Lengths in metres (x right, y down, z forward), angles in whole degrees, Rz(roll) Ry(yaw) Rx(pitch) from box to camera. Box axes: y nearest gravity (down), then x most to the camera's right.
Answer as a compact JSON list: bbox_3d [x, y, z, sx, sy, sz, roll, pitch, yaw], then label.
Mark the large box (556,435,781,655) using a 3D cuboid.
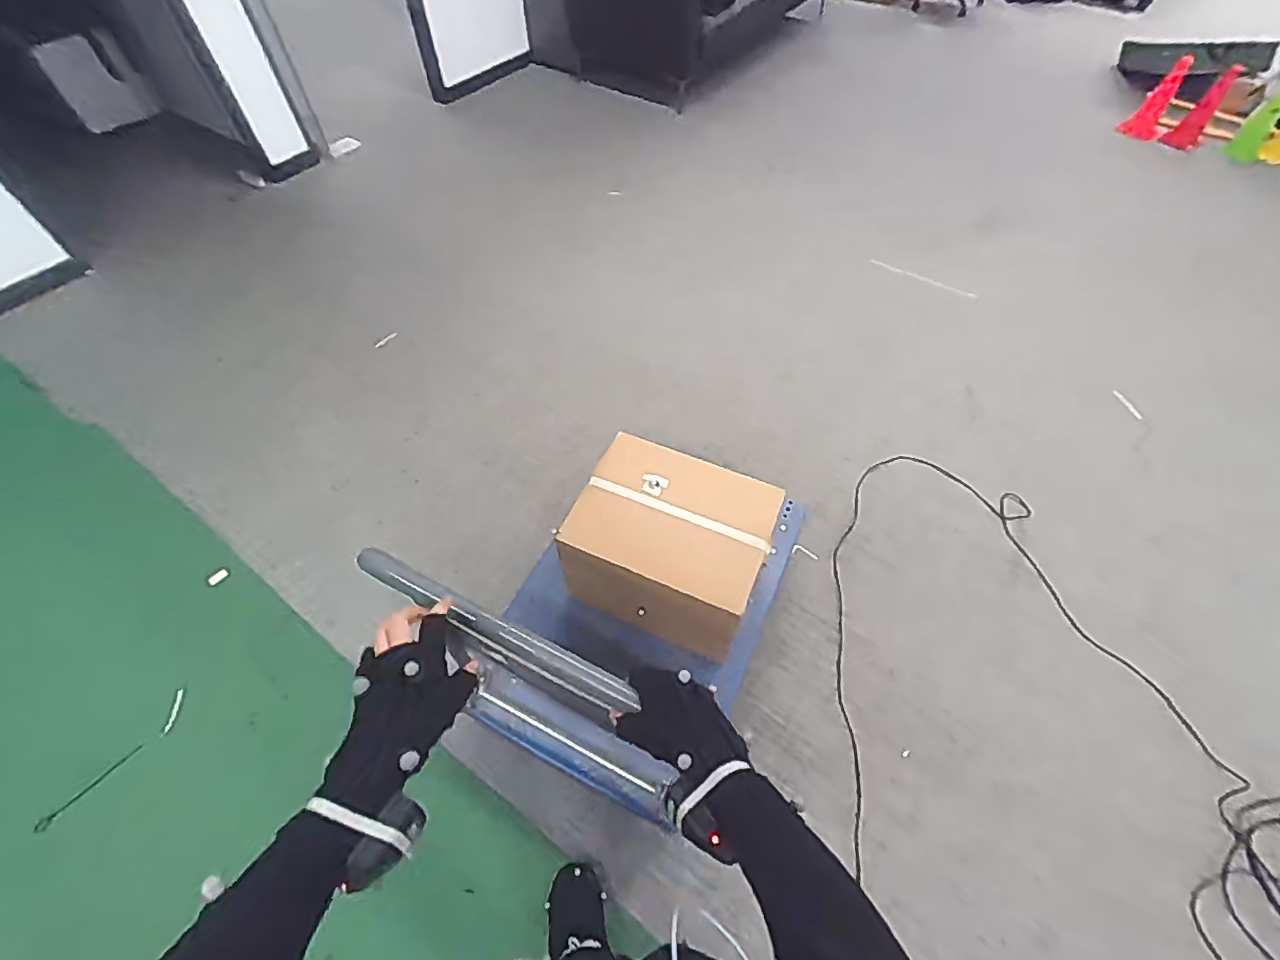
[{"bbox_3d":[0.070,0.155,1.261,0.408,0.320,0.320,20,57,14],"label":"large box"}]
